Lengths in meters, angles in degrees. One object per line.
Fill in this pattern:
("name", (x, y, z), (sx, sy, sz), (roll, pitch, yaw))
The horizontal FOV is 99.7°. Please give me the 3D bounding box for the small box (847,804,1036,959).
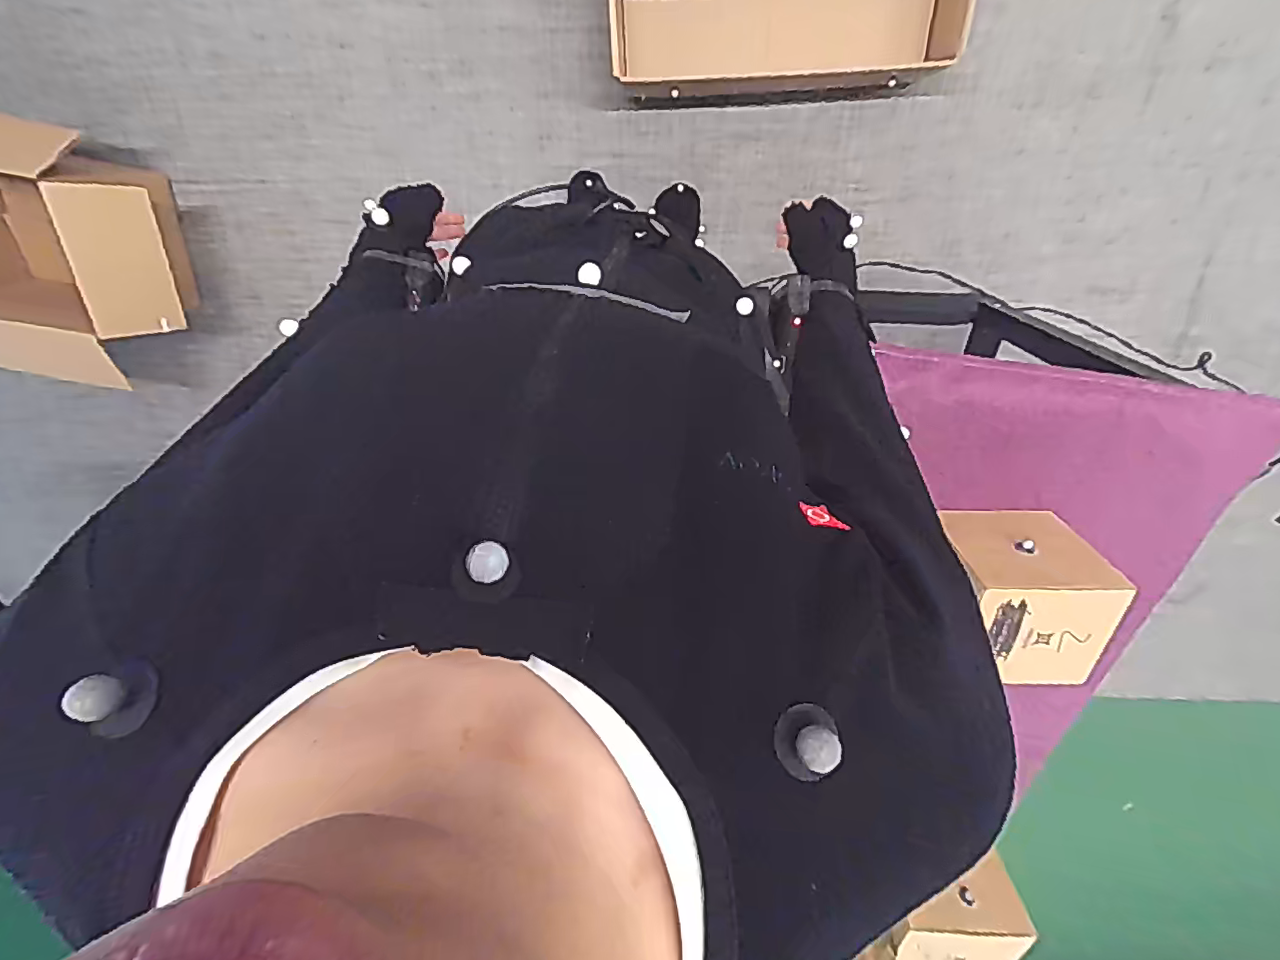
("small box", (0.445, 0.628, 0.833), (0.179, 0.176, 0.168), (3, 120, 1))
